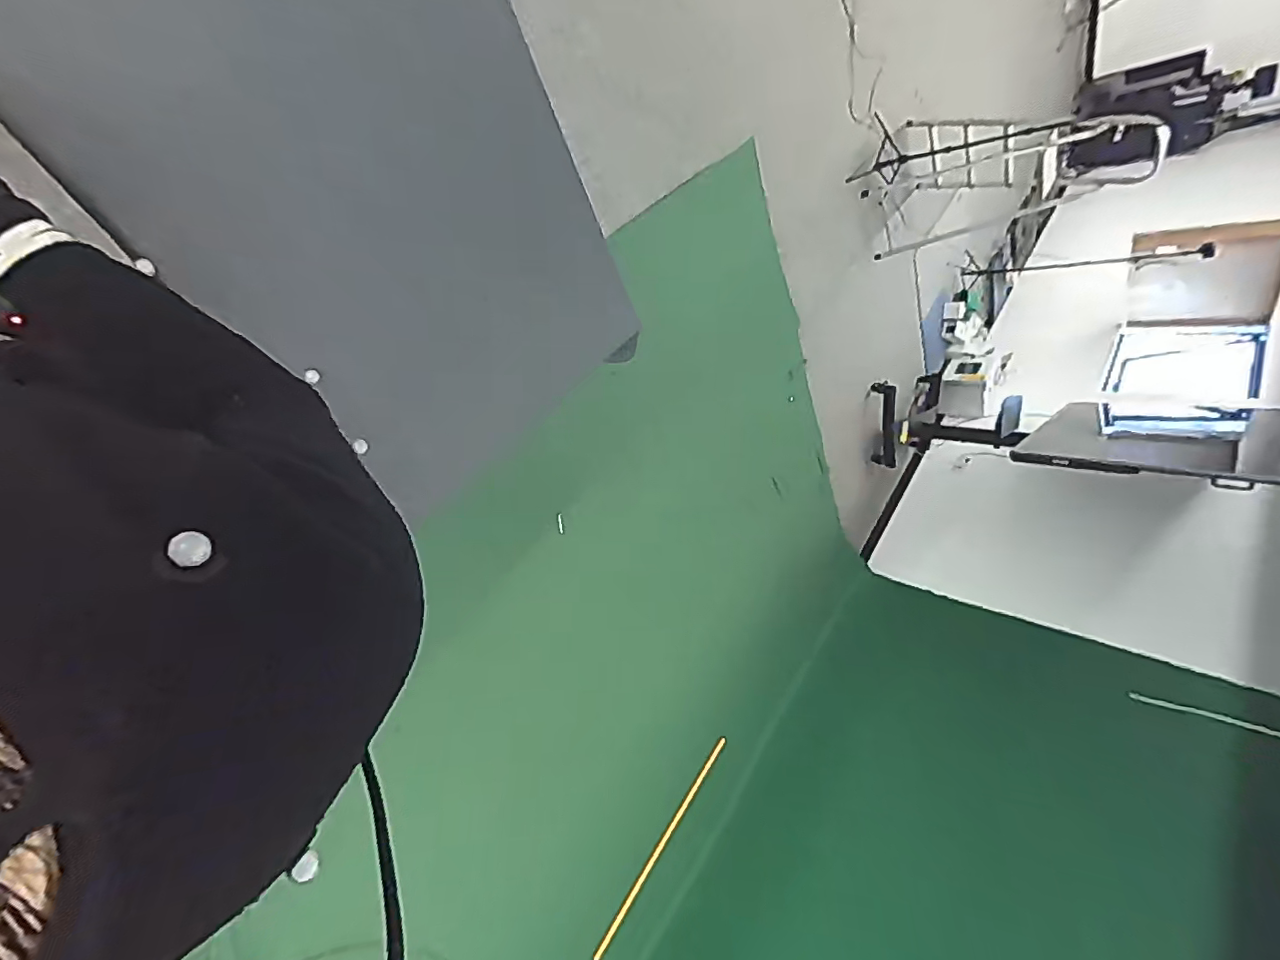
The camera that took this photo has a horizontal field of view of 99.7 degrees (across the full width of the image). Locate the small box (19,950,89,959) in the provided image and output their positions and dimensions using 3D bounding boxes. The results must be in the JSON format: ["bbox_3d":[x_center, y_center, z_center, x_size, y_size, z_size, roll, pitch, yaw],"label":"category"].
[{"bbox_3d":[-1.274,1.130,1.120,0.168,0.176,0.179,-49,133,-28],"label":"small box"}]
